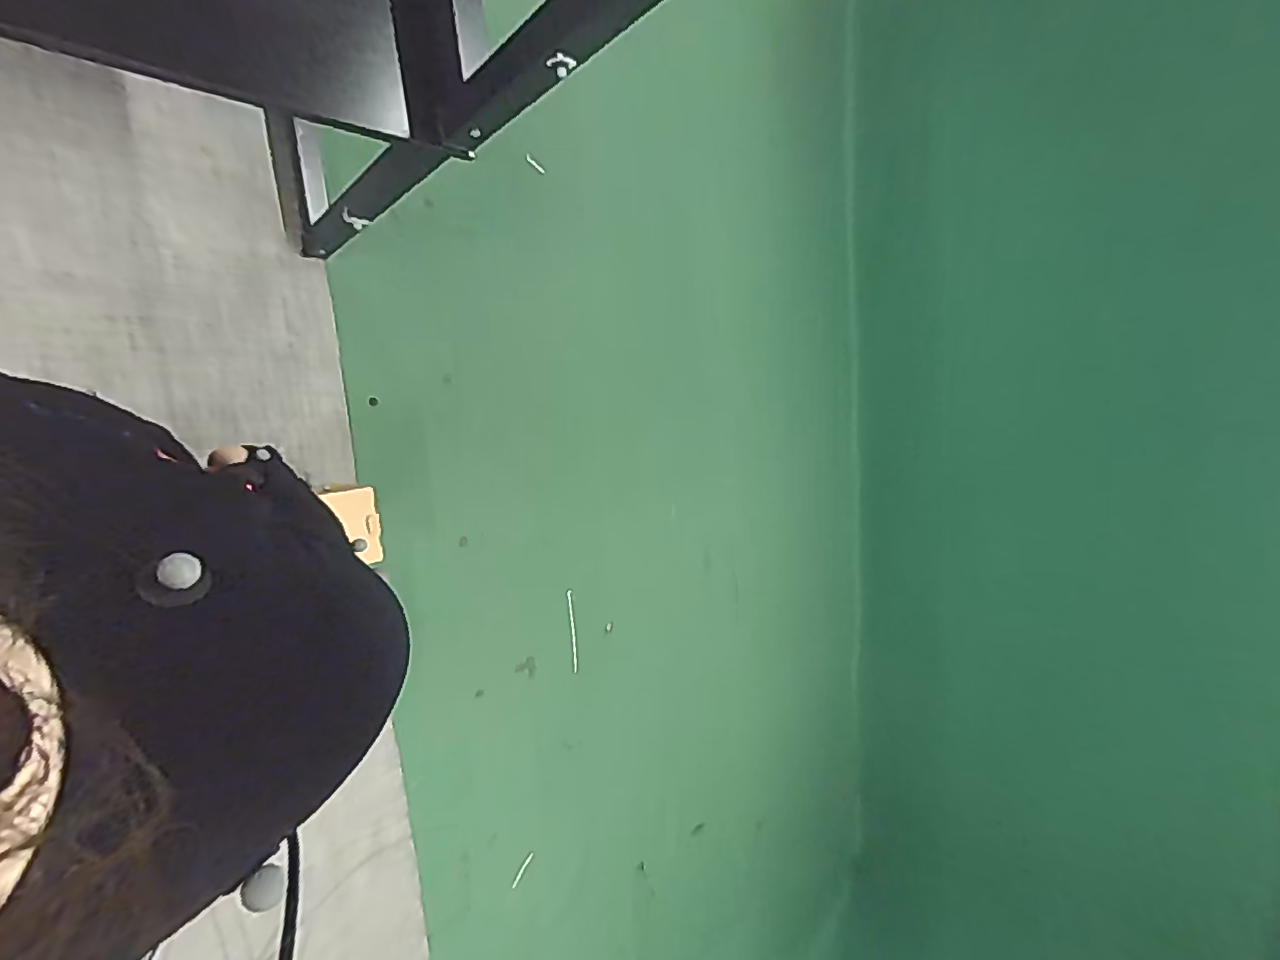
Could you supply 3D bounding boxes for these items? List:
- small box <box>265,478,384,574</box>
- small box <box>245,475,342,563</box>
[{"bbox_3d":[-0.680,0.090,1.158,0.179,0.176,0.168,-14,102,-45],"label":"small box"},{"bbox_3d":[-0.802,0.083,1.267,0.179,0.176,0.168,-15,103,-44],"label":"small box"}]
